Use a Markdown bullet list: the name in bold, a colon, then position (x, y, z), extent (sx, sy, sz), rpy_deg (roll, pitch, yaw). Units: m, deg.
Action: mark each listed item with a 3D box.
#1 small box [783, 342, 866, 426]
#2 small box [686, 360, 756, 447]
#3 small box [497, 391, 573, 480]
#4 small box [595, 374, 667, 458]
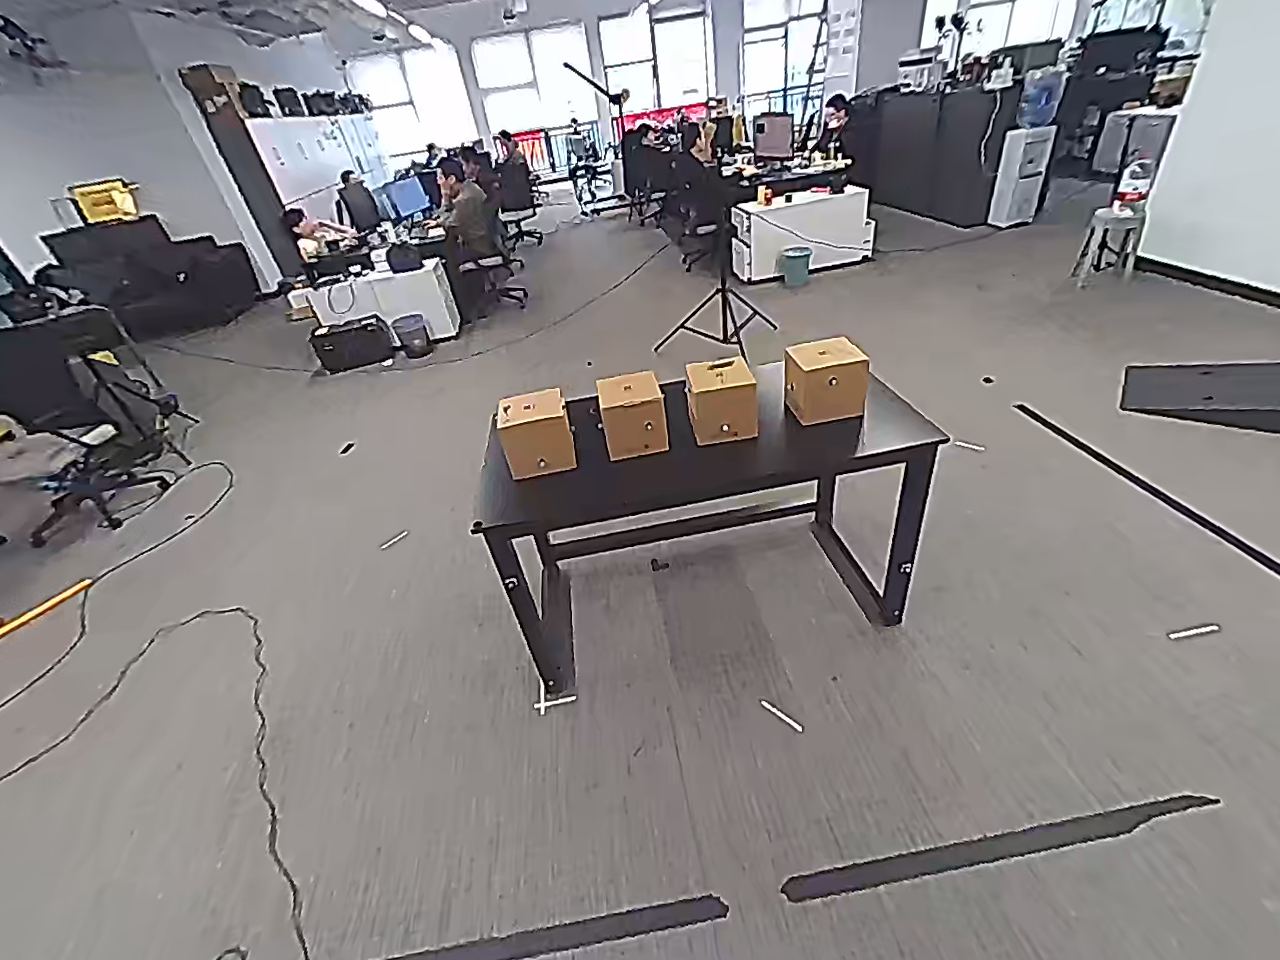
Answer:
- **small box**: position (0.508, -0.265, 1.510), extent (0.179, 0.176, 0.168), rpy_deg (-10, 35, 0)
- **small box**: position (0.221, -0.213, 1.502), extent (0.168, 0.176, 0.179), rpy_deg (-8, 36, 1)
- **small box**: position (-0.282, -0.121, 1.486), extent (0.179, 0.176, 0.168), rpy_deg (-11, 35, -4)
- **small box**: position (-0.025, -0.173, 1.505), extent (0.168, 0.176, 0.179), rpy_deg (-10, 34, -3)
